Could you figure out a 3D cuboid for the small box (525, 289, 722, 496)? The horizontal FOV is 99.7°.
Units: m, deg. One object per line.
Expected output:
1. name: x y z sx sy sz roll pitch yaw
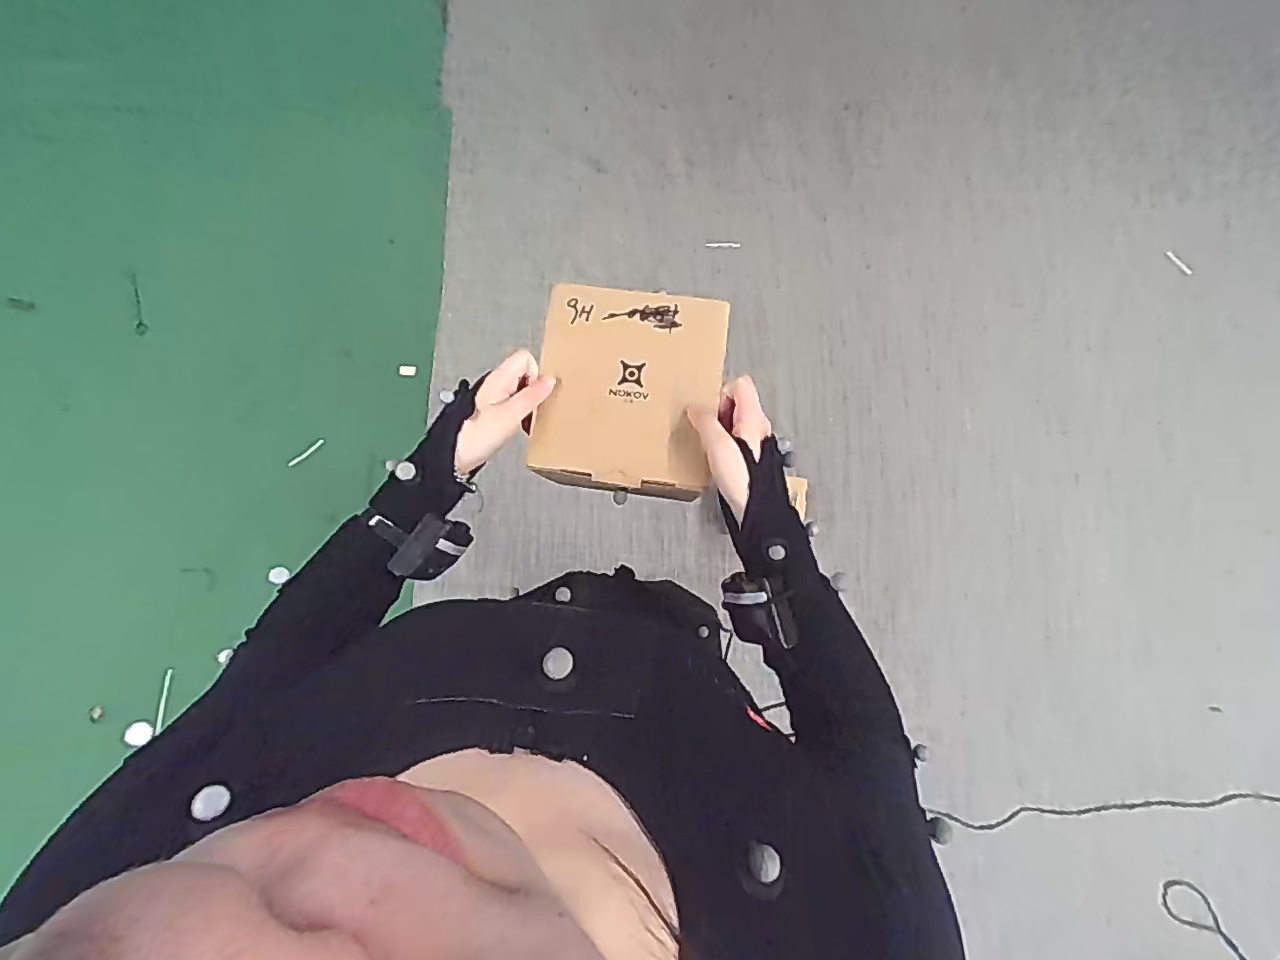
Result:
1. small box: -0.012 -0.079 0.579 0.168 0.176 0.179 8 87 2
